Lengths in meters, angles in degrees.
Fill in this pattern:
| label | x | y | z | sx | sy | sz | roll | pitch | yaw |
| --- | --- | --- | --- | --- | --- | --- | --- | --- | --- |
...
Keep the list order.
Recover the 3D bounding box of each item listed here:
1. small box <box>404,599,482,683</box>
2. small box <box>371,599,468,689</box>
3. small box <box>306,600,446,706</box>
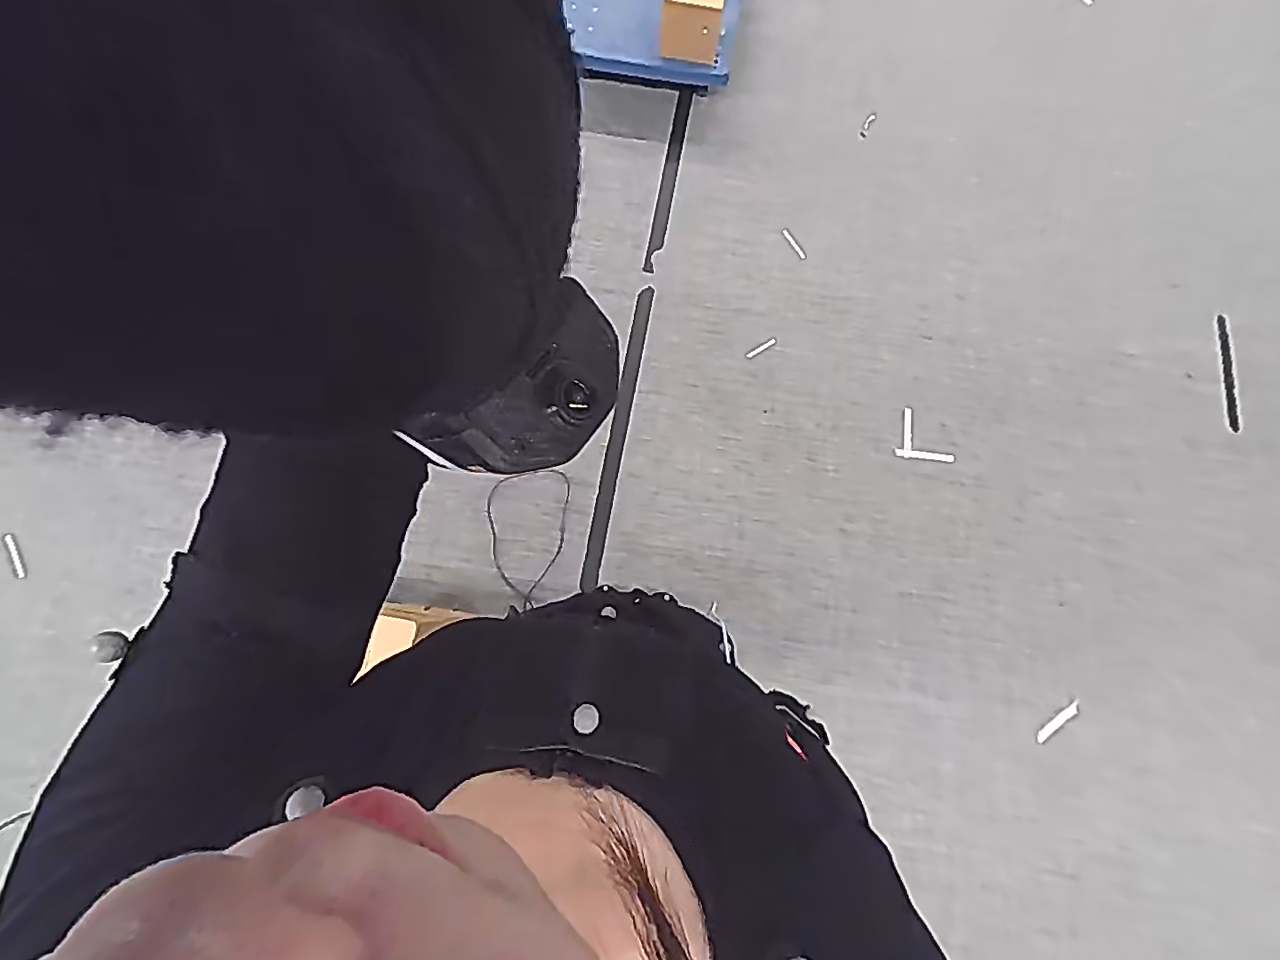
| label | x | y | z | sx | sy | sz | roll | pitch | yaw |
| --- | --- | --- | --- | --- | --- | --- | --- | --- | --- |
| small box | -0.524 | 0.412 | 1.402 | 0.168 | 0.176 | 0.179 | 10 | 76 | 1 |
| small box | -0.519 | 0.371 | 1.244 | 0.179 | 0.176 | 0.168 | 9 | 78 | 1 |
| small box | -0.515 | 0.339 | 1.081 | 0.179 | 0.176 | 0.168 | 10 | 77 | 0 |
